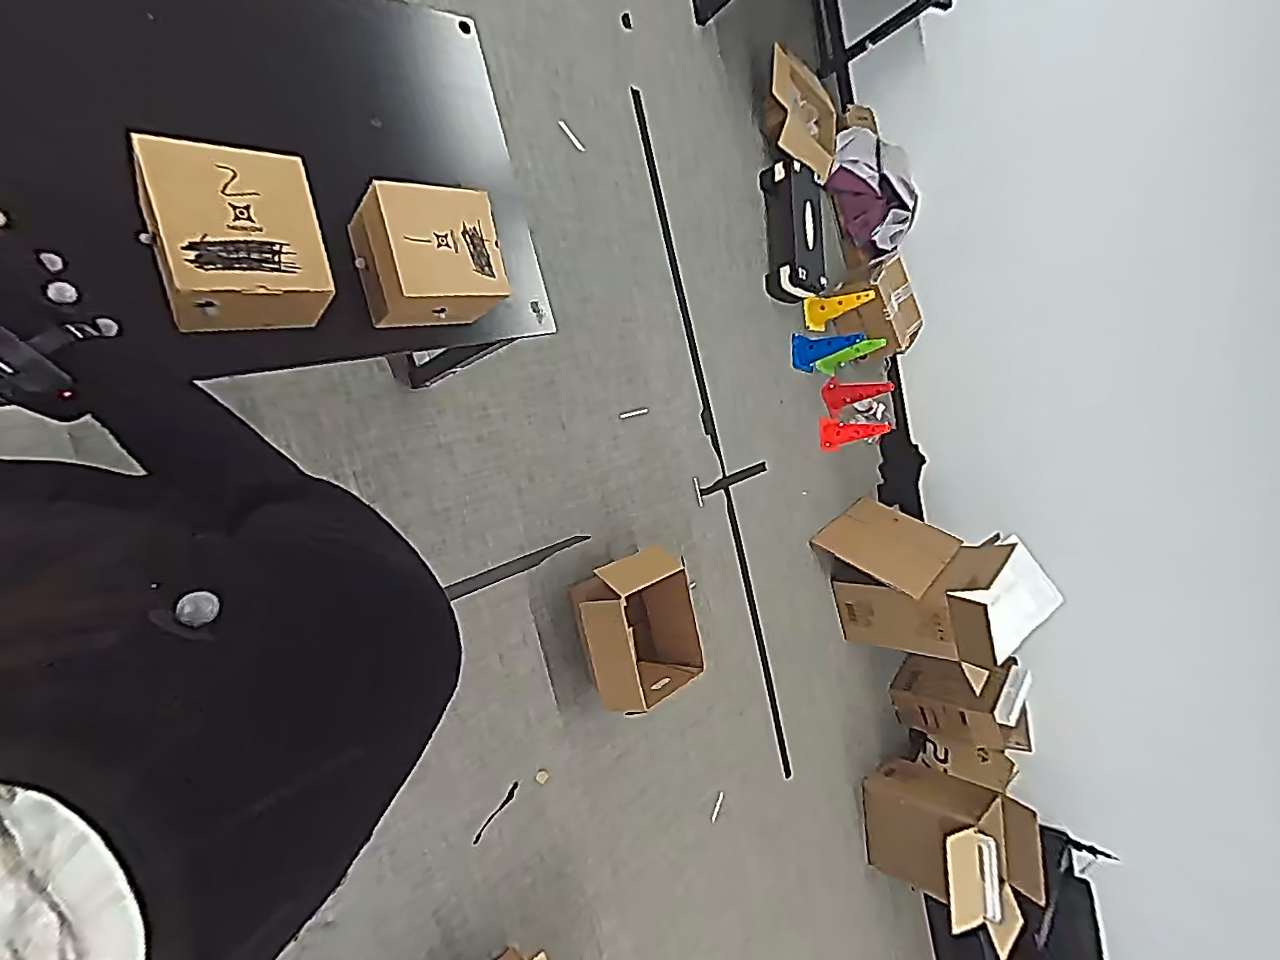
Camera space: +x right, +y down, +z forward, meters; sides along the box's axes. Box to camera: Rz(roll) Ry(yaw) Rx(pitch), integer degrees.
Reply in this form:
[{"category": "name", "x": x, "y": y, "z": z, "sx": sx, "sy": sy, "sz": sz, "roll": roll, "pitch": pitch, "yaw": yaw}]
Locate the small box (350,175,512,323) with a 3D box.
[{"category": "small box", "x": -0.337, "y": -0.359, "z": 0.869, "sx": 0.179, "sy": 0.176, "sz": 0.168, "roll": -18, "pitch": 99, "yaw": -38}]
